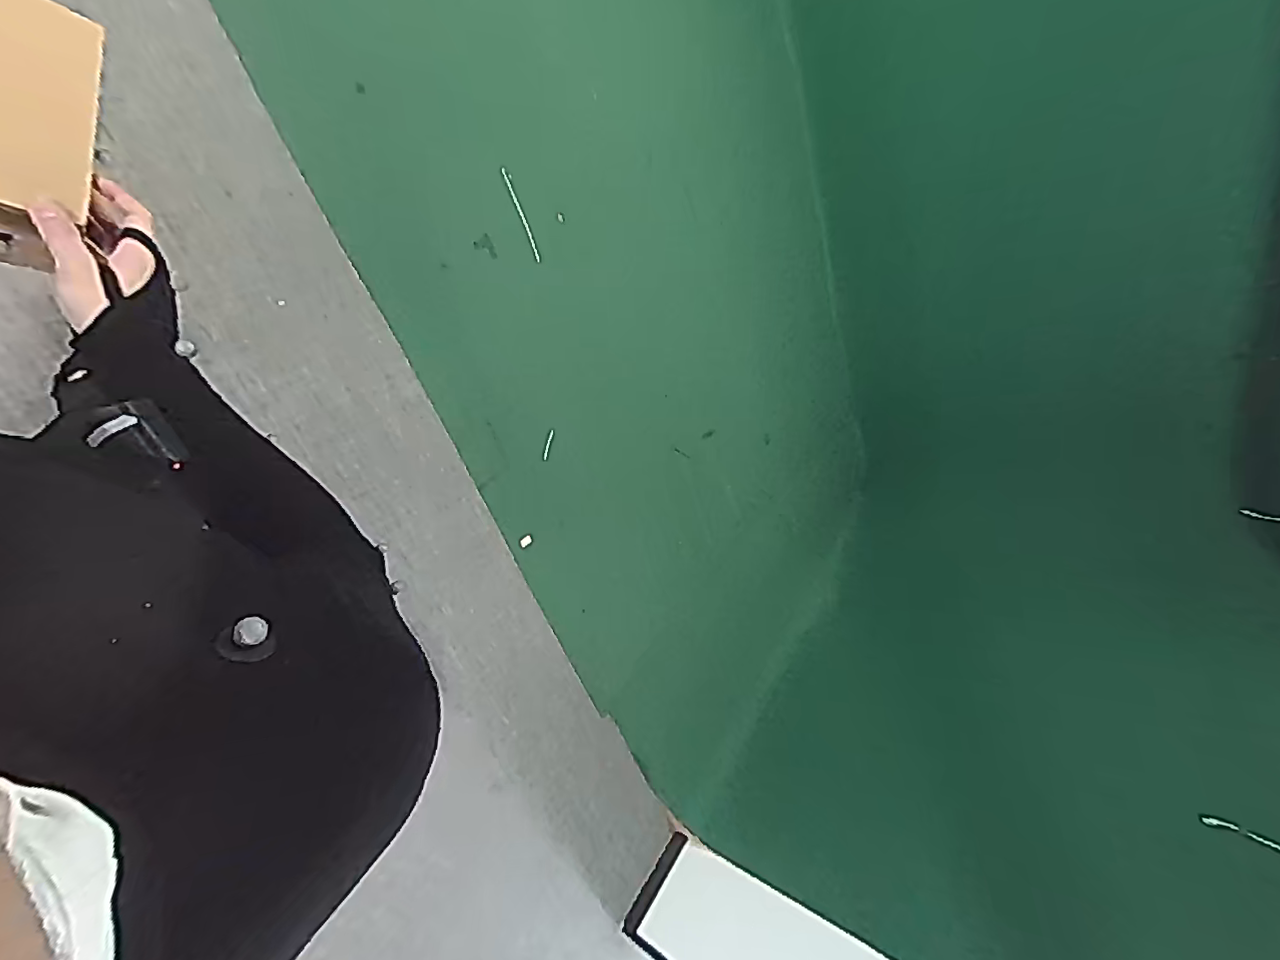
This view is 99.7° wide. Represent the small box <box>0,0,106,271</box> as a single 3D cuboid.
[{"bbox_3d":[-0.560,-0.292,0.434,0.168,0.176,0.179,6,85,-50],"label":"small box"}]
